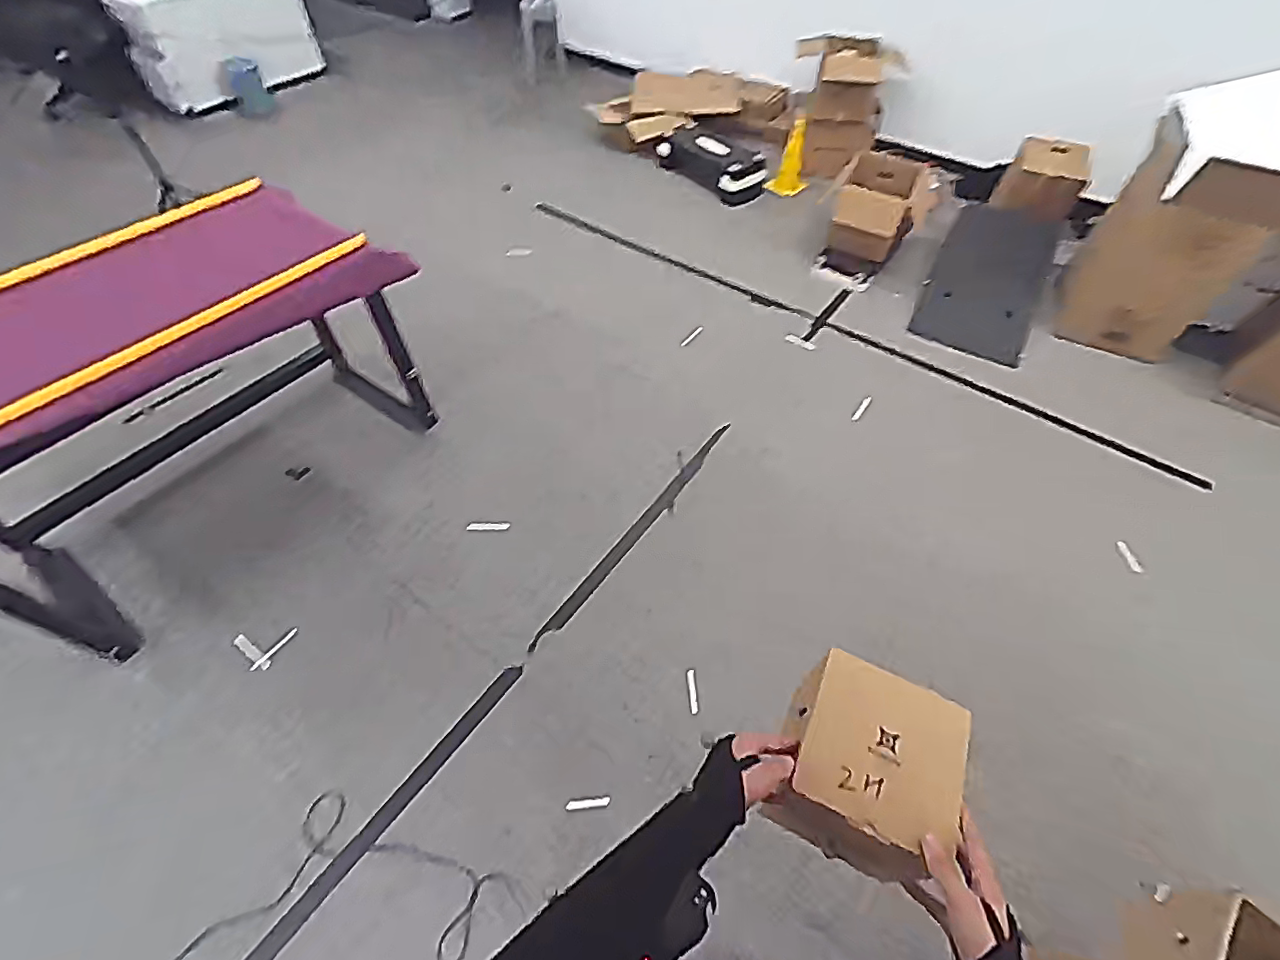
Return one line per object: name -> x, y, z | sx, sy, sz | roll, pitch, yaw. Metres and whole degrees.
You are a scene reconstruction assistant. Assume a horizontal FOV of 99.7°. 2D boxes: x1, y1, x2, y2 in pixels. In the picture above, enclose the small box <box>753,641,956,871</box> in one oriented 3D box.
small box -> 0.249, 0.334, 0.654 | 0.168, 0.176, 0.179 | 22, 54, 15
